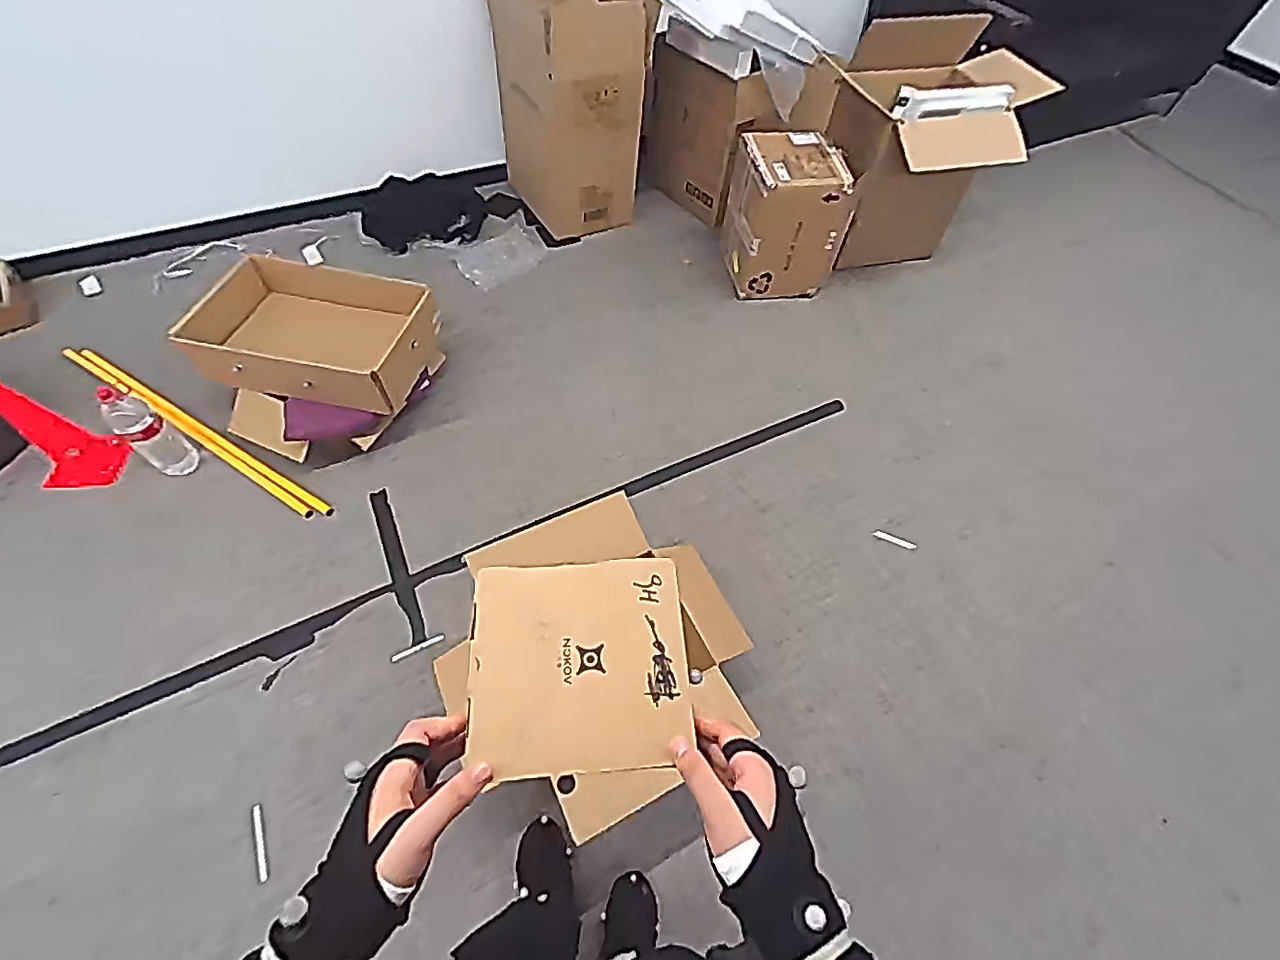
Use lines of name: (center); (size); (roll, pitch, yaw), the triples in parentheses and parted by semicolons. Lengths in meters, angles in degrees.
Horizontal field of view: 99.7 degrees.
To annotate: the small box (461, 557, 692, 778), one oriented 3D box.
small box: (-0.054, 0.182, 0.510); (0.179, 0.176, 0.168); (-3, 62, -5)
